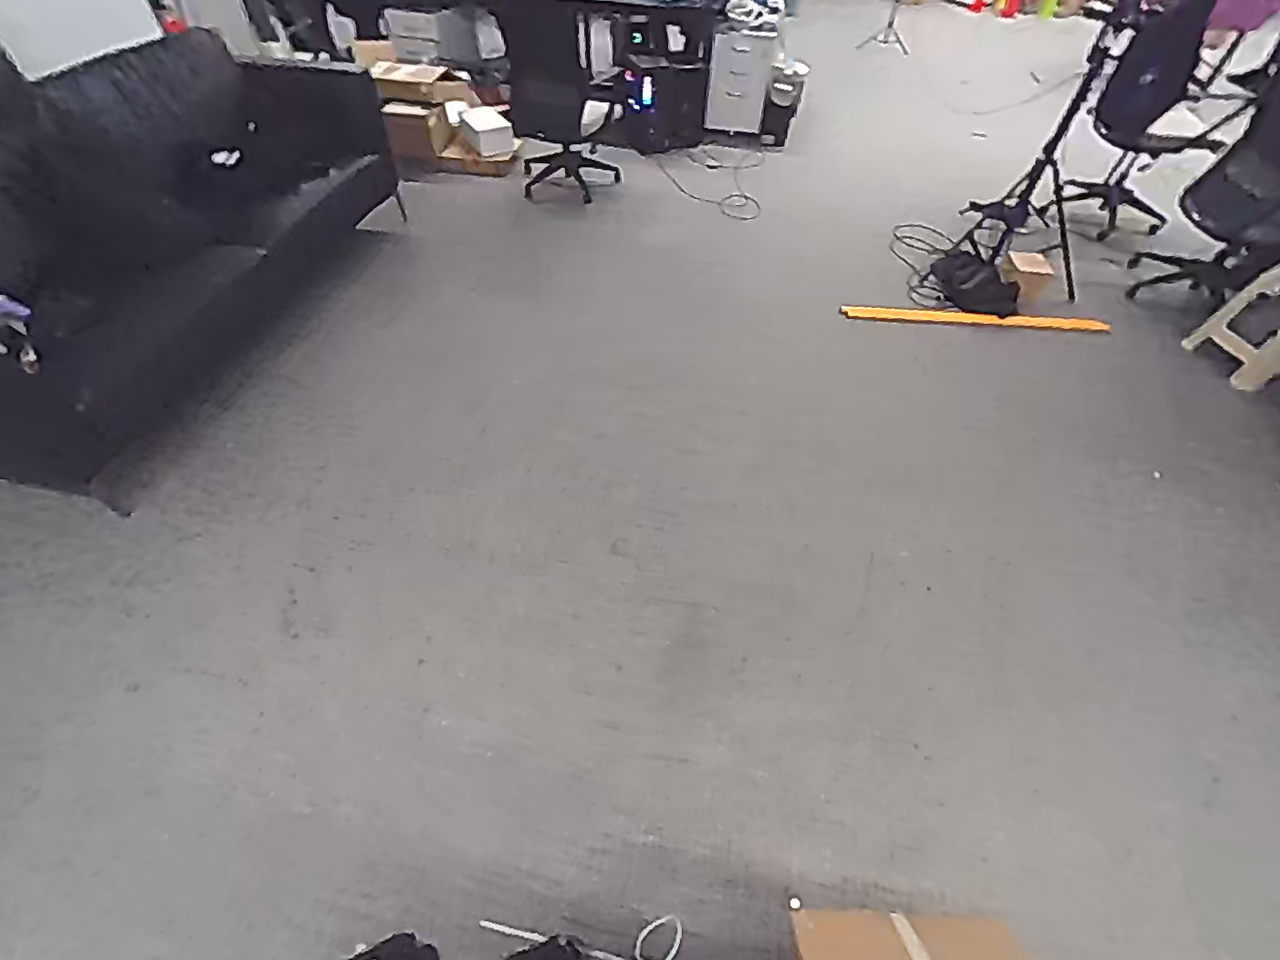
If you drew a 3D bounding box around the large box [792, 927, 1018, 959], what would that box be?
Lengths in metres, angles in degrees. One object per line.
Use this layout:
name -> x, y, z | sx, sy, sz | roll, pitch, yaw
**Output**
large box -> 0.373, 0.818, 0.601 | 0.320, 0.408, 0.320 | 1, 89, 3
